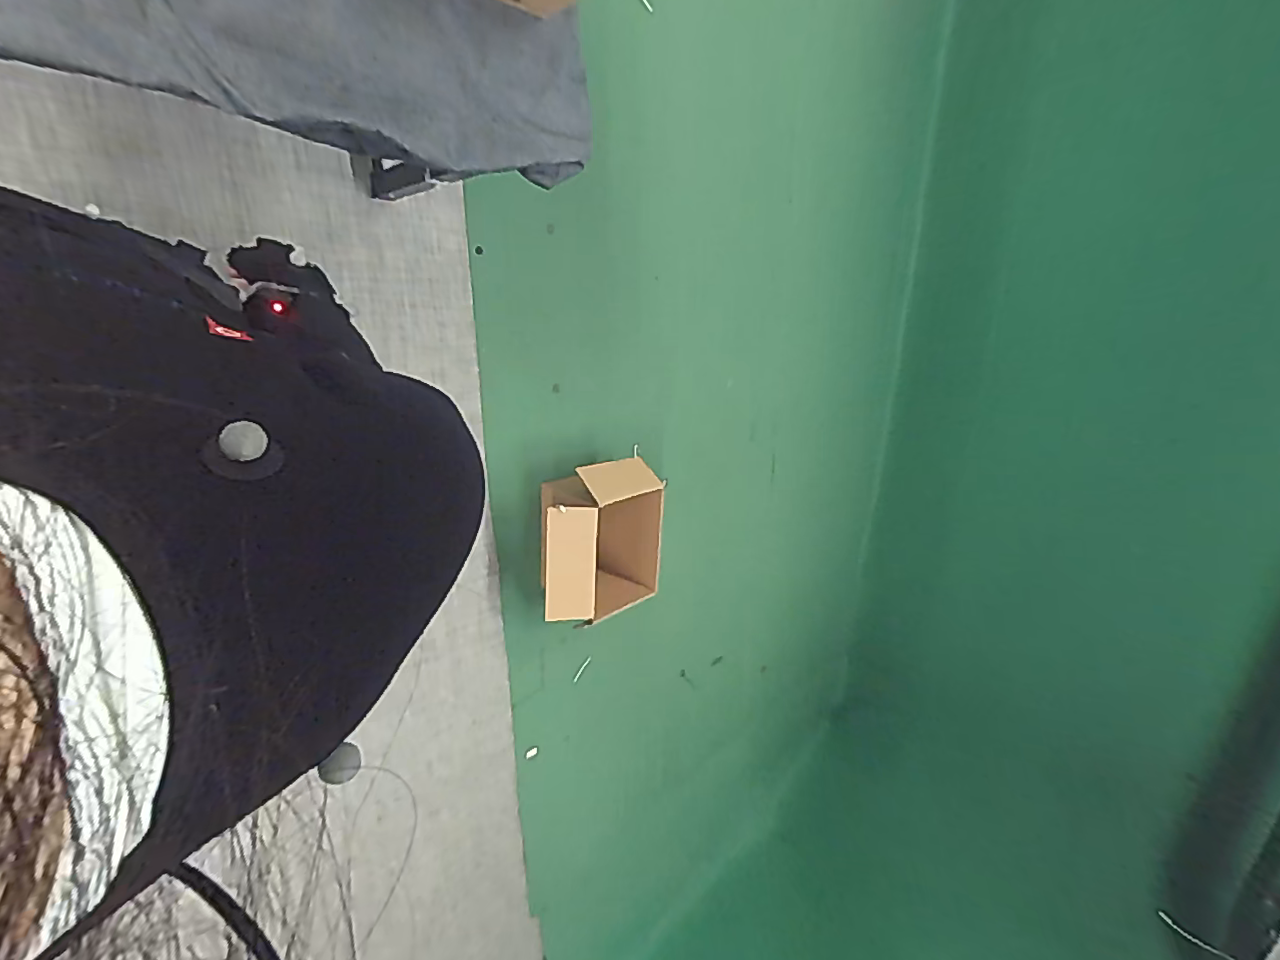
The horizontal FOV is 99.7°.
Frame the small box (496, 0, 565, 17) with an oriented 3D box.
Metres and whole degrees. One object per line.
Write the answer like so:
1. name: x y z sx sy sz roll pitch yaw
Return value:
1. small box: -0.149 -0.710 0.652 0.168 0.176 0.179 -17 115 -42
